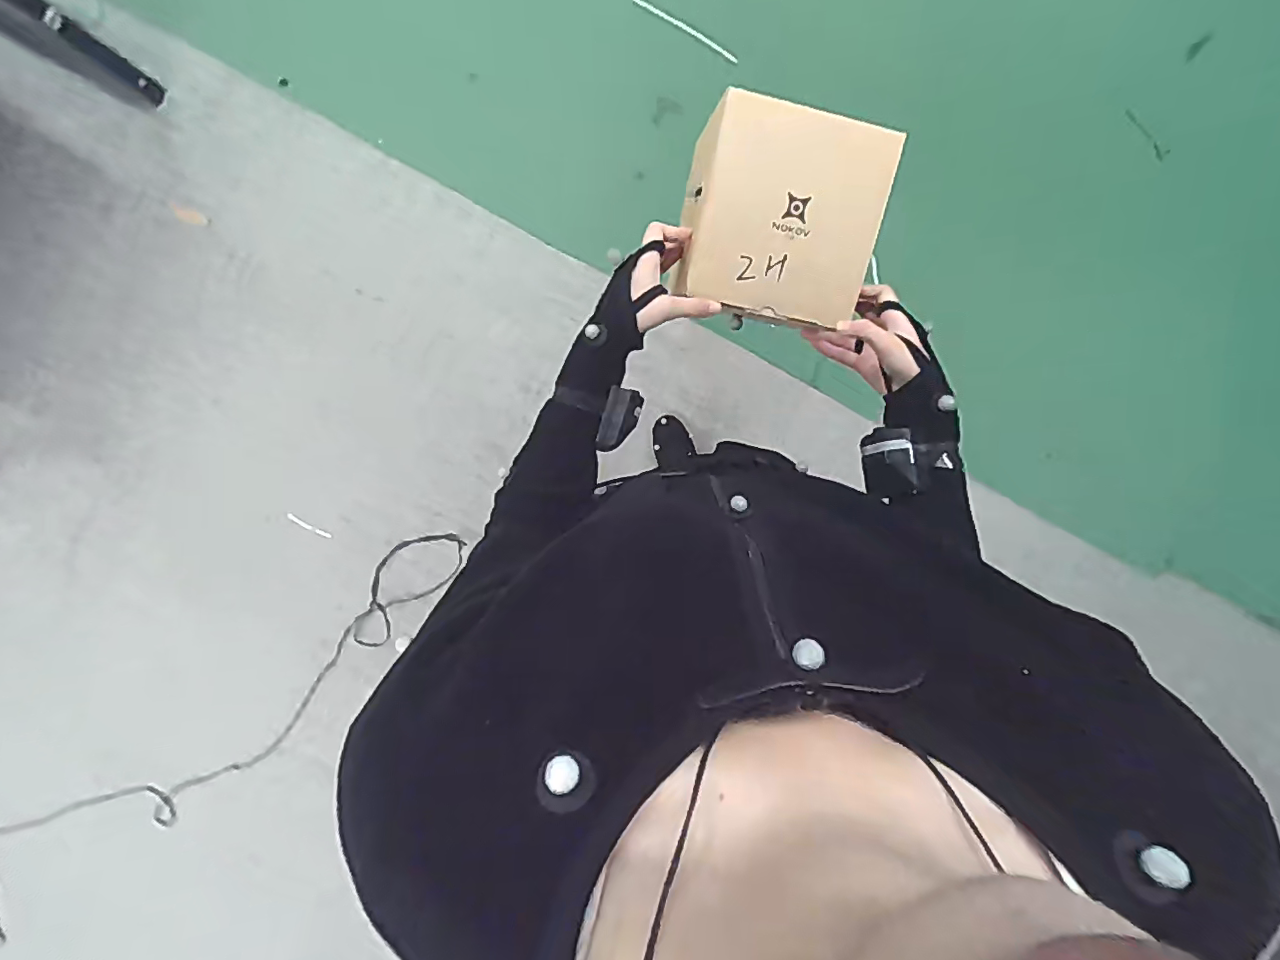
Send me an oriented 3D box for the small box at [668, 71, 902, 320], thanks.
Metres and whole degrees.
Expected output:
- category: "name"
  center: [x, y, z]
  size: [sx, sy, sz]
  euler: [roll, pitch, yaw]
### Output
- category: "small box"
  center: [0.129, -0.271, 0.559]
  size: [0.168, 0.176, 0.179]
  euler: [9, 106, -6]
